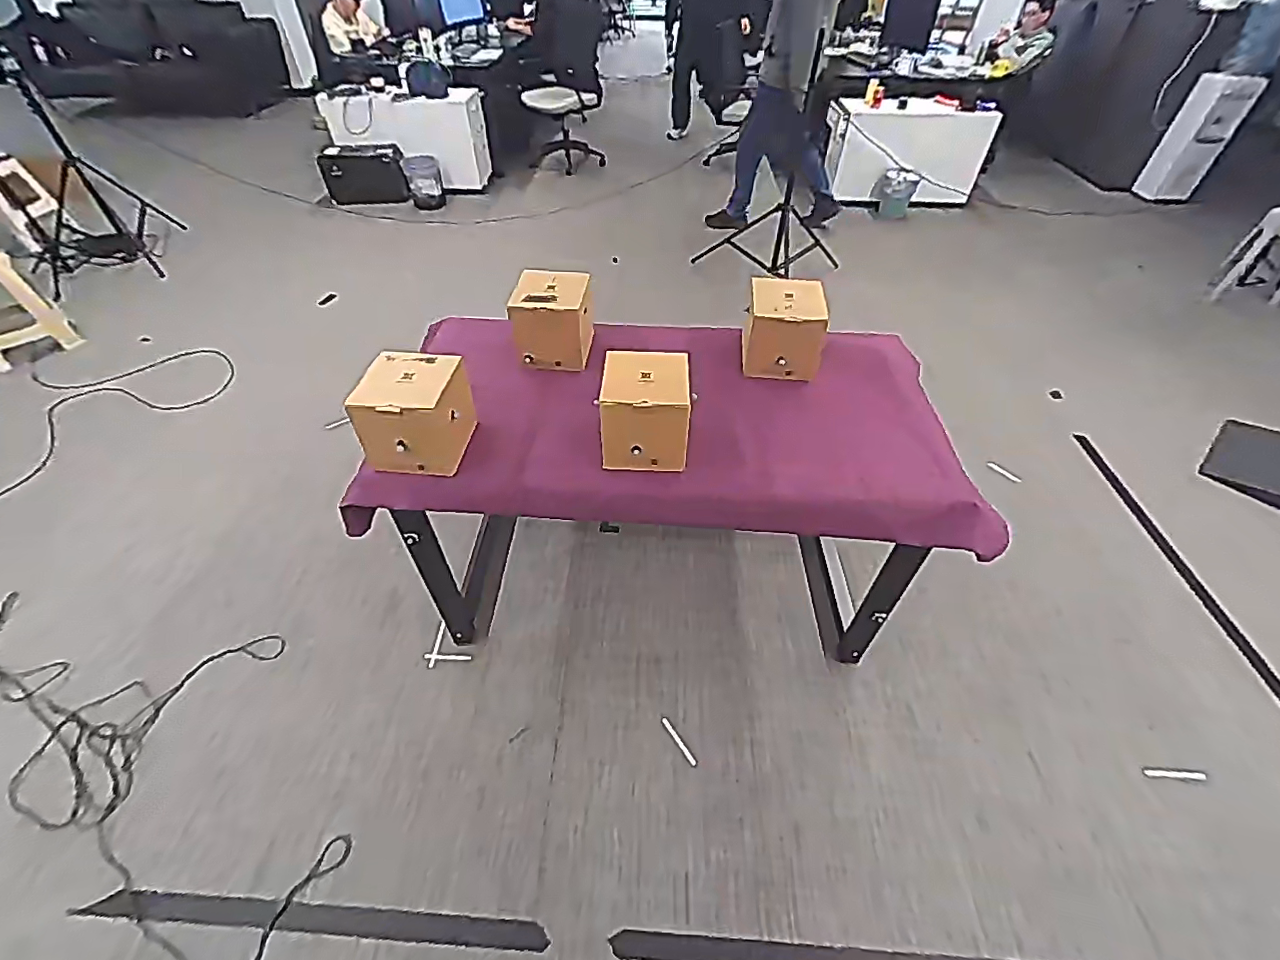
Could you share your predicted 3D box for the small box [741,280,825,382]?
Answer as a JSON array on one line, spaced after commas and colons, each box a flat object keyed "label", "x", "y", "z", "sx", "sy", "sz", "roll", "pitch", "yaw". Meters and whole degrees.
[{"label": "small box", "x": 0.337, "y": -0.360, "z": 1.308, "sx": 0.168, "sy": 0.176, "sz": 0.179, "roll": 4, "pitch": 49, "yaw": 5}]

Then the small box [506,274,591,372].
[{"label": "small box", "x": -0.213, "y": -0.381, "z": 1.323, "sx": 0.168, "sy": 0.176, "sz": 0.179, "roll": 4, "pitch": 47, "yaw": 3}]

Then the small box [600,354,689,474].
[{"label": "small box", "x": 0.008, "y": -0.134, "z": 1.094, "sx": 0.168, "sy": 0.176, "sz": 0.179, "roll": 2, "pitch": 45, "yaw": 1}]

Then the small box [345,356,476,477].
[{"label": "small box", "x": -0.440, "y": -0.124, "z": 1.073, "sx": 0.168, "sy": 0.176, "sz": 0.179, "roll": 4, "pitch": 46, "yaw": 2}]
